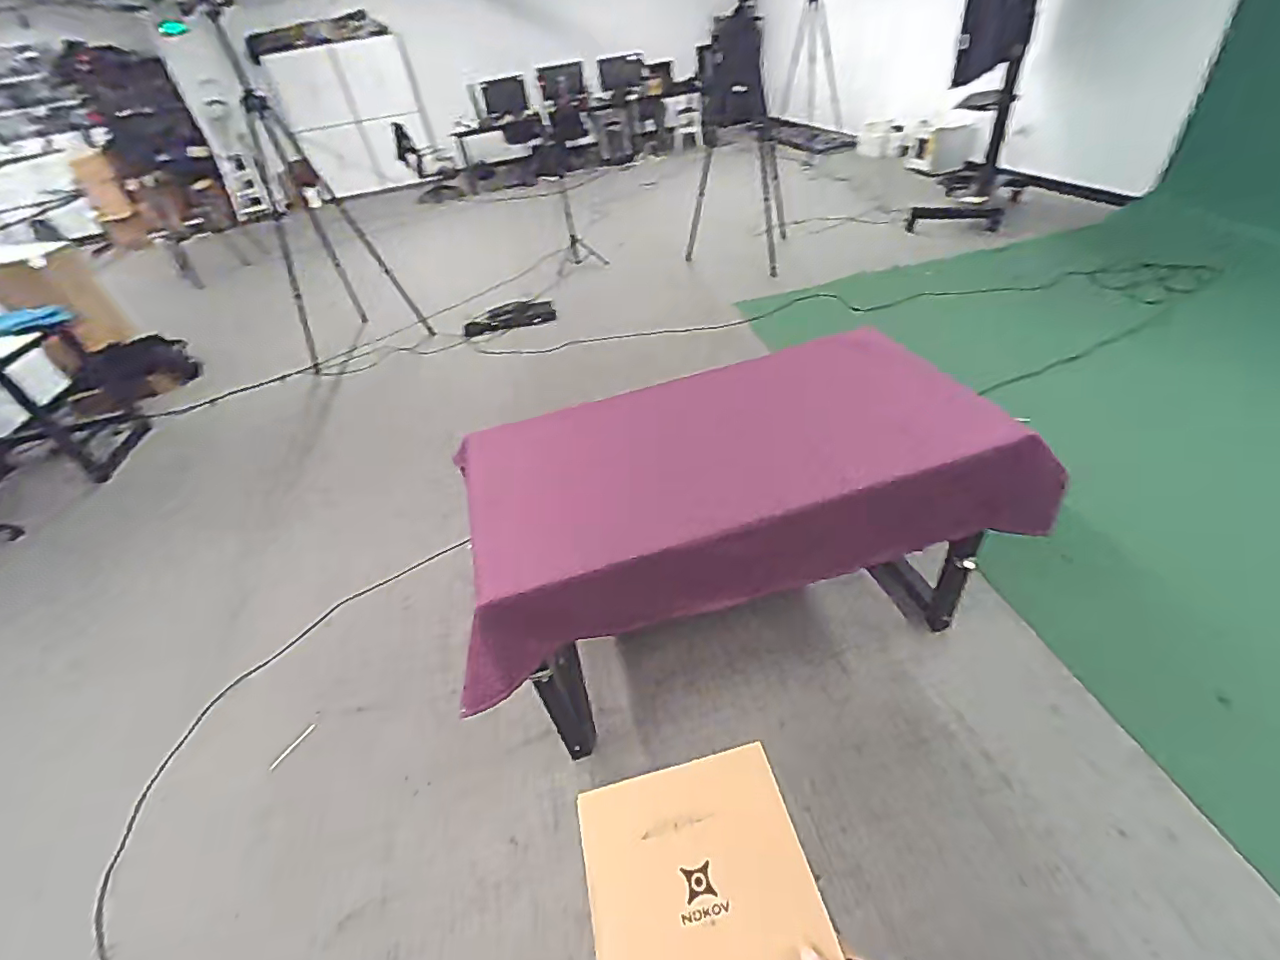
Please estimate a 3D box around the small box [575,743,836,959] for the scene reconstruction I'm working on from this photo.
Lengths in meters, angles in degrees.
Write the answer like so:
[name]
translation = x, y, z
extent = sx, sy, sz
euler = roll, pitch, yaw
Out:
[small box]
translation = 0.050, 0.360, 0.456
extent = 0.168, 0.176, 0.179
euler = -13, 42, -6
